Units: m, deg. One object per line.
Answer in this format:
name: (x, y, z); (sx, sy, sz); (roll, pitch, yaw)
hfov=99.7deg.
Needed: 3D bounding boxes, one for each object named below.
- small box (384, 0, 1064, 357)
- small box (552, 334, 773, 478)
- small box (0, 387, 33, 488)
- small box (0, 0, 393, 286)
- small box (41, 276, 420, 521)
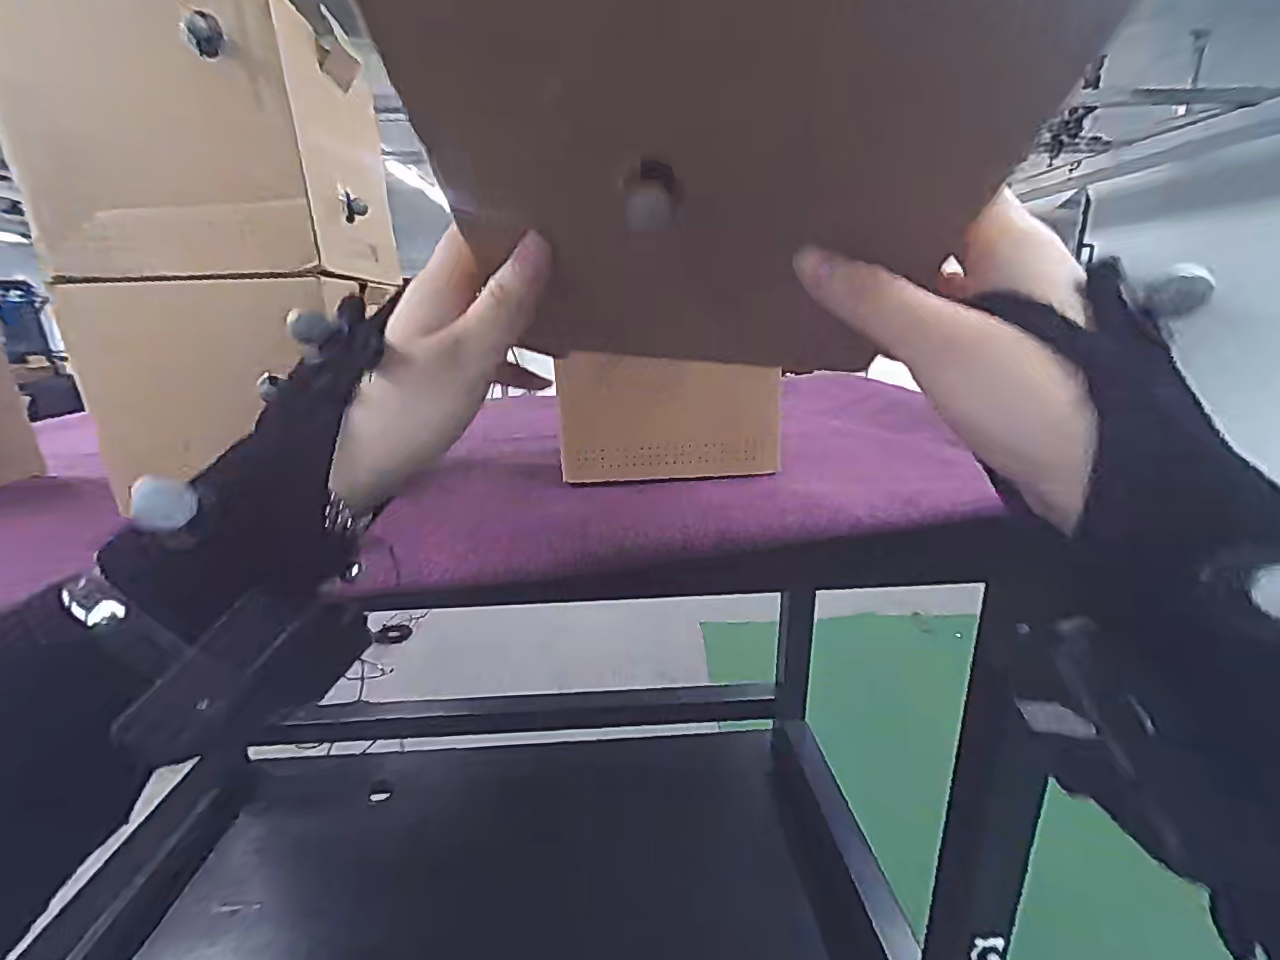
small box: (0.025, -0.164, 0.211); (0.179, 0.168, 0.176); (5, -19, 4)
small box: (0.018, -0.102, 0.488); (0.179, 0.176, 0.168); (-2, 16, -1)
small box: (-0.641, -0.052, 0.405); (0.168, 0.176, 0.179); (-2, 18, -5)
small box: (-0.311, -0.231, 0.405); (0.179, 0.176, 0.168); (-4, 17, -5)
small box: (-0.302, -0.074, 0.451); (0.179, 0.176, 0.168); (-4, 17, -4)
